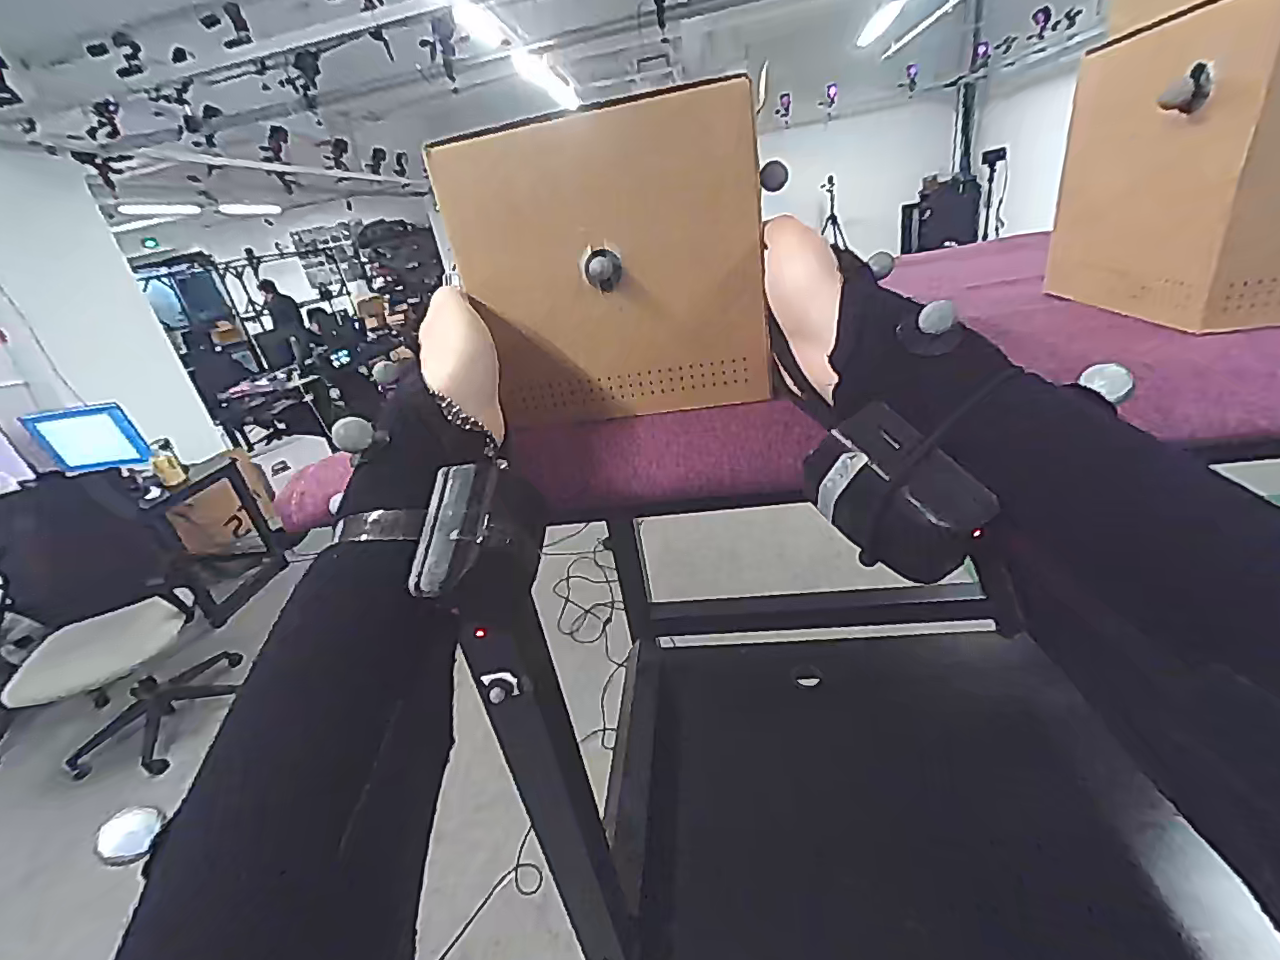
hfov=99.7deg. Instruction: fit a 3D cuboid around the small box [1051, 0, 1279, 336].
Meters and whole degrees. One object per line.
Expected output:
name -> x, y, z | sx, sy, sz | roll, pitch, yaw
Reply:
small box -> 0.398, -0.191, 0.334 | 0.168, 0.176, 0.179 | -4, 26, 11
